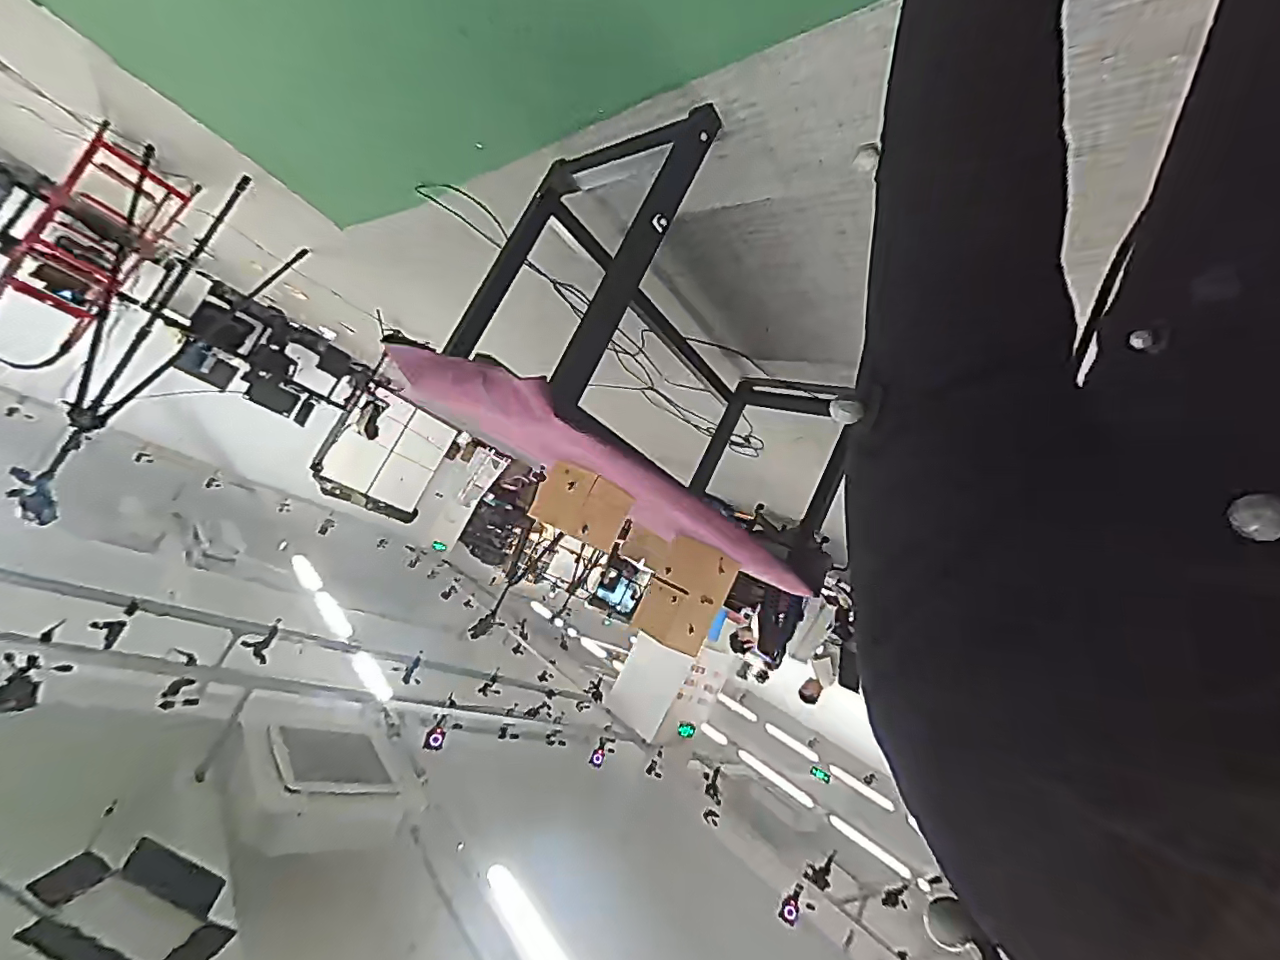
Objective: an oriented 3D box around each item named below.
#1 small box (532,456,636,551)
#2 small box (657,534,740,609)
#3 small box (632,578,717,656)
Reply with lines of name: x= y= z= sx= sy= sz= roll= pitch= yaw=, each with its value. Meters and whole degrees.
small box: x=-0.141 y=0.060 z=1.413 sx=0.168 sy=0.176 sz=0.179 roll=20 pitch=169 yaw=40
small box: x=0.194 y=0.291 z=1.762 sx=0.168 sy=0.176 sz=0.179 roll=33 pitch=170 yaw=-37
small box: x=0.112 y=0.434 z=1.737 sx=0.179 sy=0.176 sz=0.168 roll=35 pitch=171 yaw=-39
